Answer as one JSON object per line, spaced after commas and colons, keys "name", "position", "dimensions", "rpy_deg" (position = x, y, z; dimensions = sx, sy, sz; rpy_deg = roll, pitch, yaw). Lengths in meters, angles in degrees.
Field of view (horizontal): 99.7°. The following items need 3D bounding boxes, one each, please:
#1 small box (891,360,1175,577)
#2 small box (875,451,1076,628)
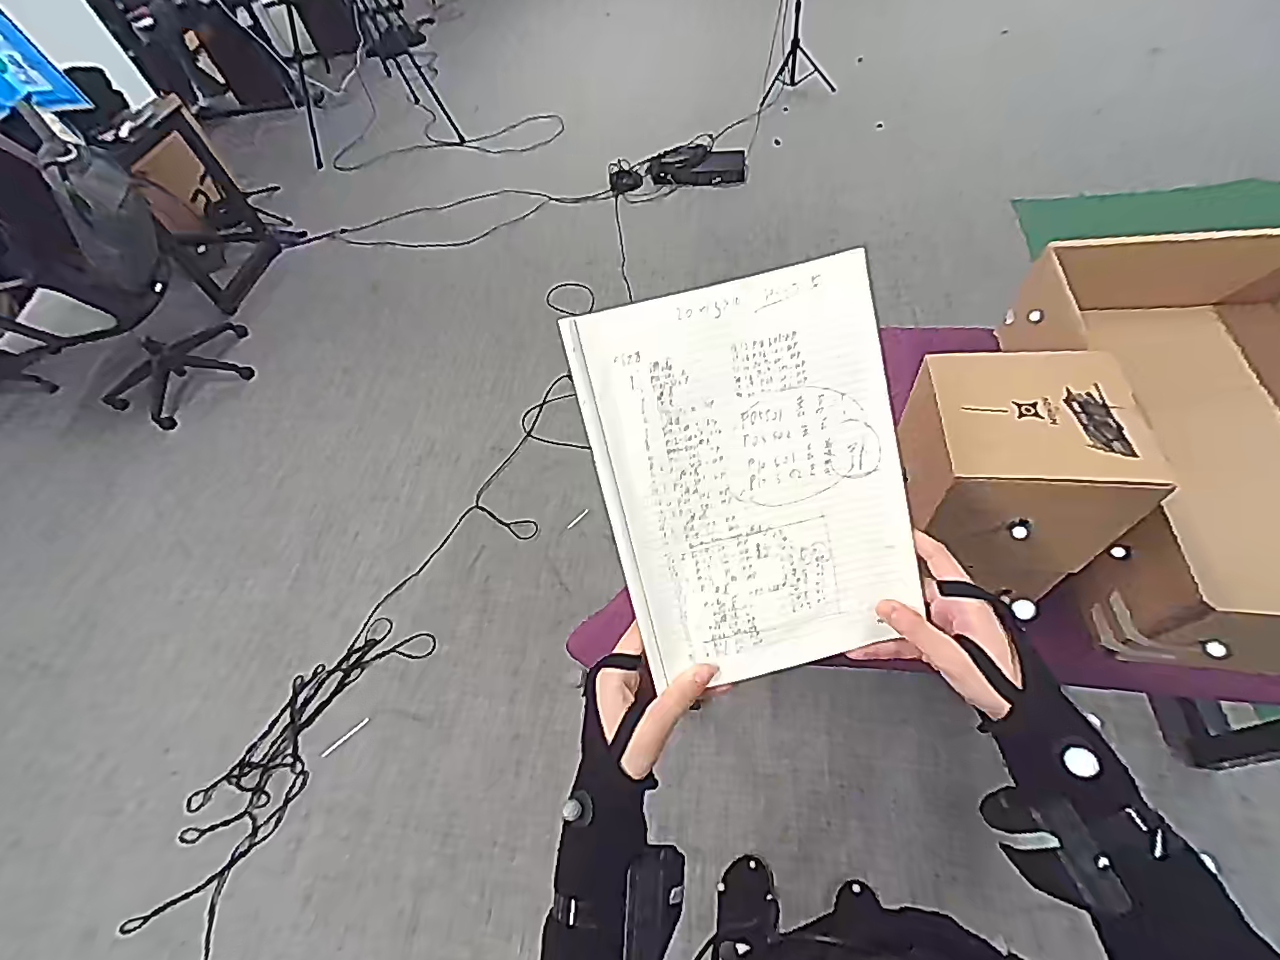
{"name": "small box", "position": [0.388, -0.008, 0.577], "dimensions": [0.179, 0.176, 0.168], "rpy_deg": [2, 54, 12]}
{"name": "small box", "position": [0.419, 0.080, 0.712], "dimensions": [0.168, 0.176, 0.179], "rpy_deg": [2, 54, 11]}
